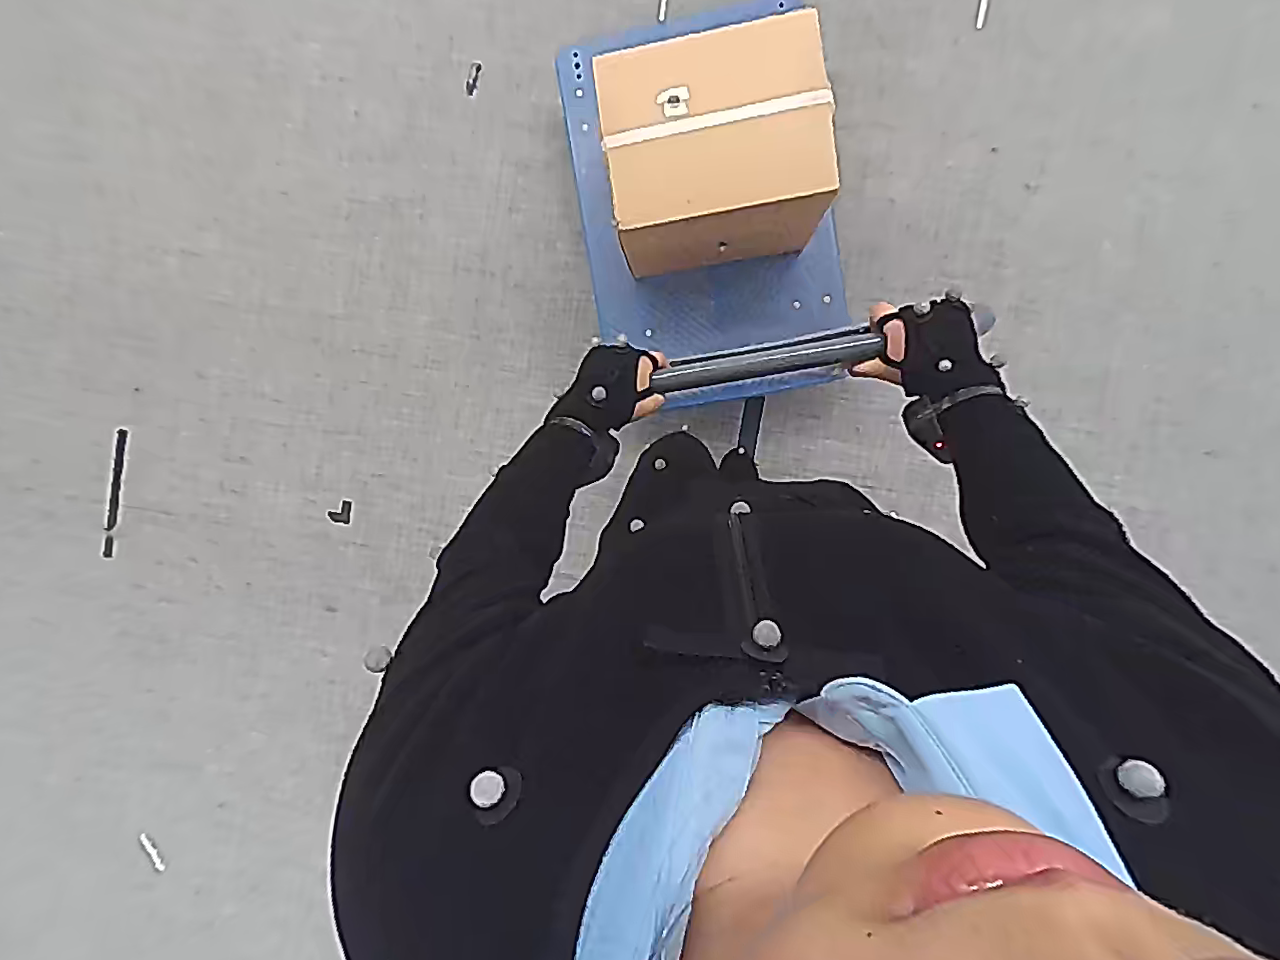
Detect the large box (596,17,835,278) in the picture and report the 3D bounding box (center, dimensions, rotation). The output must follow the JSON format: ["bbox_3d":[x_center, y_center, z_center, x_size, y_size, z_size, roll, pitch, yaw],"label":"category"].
[{"bbox_3d":[0.151,-0.653,1.136,0.408,0.320,0.320,-8,93,7],"label":"large box"}]
